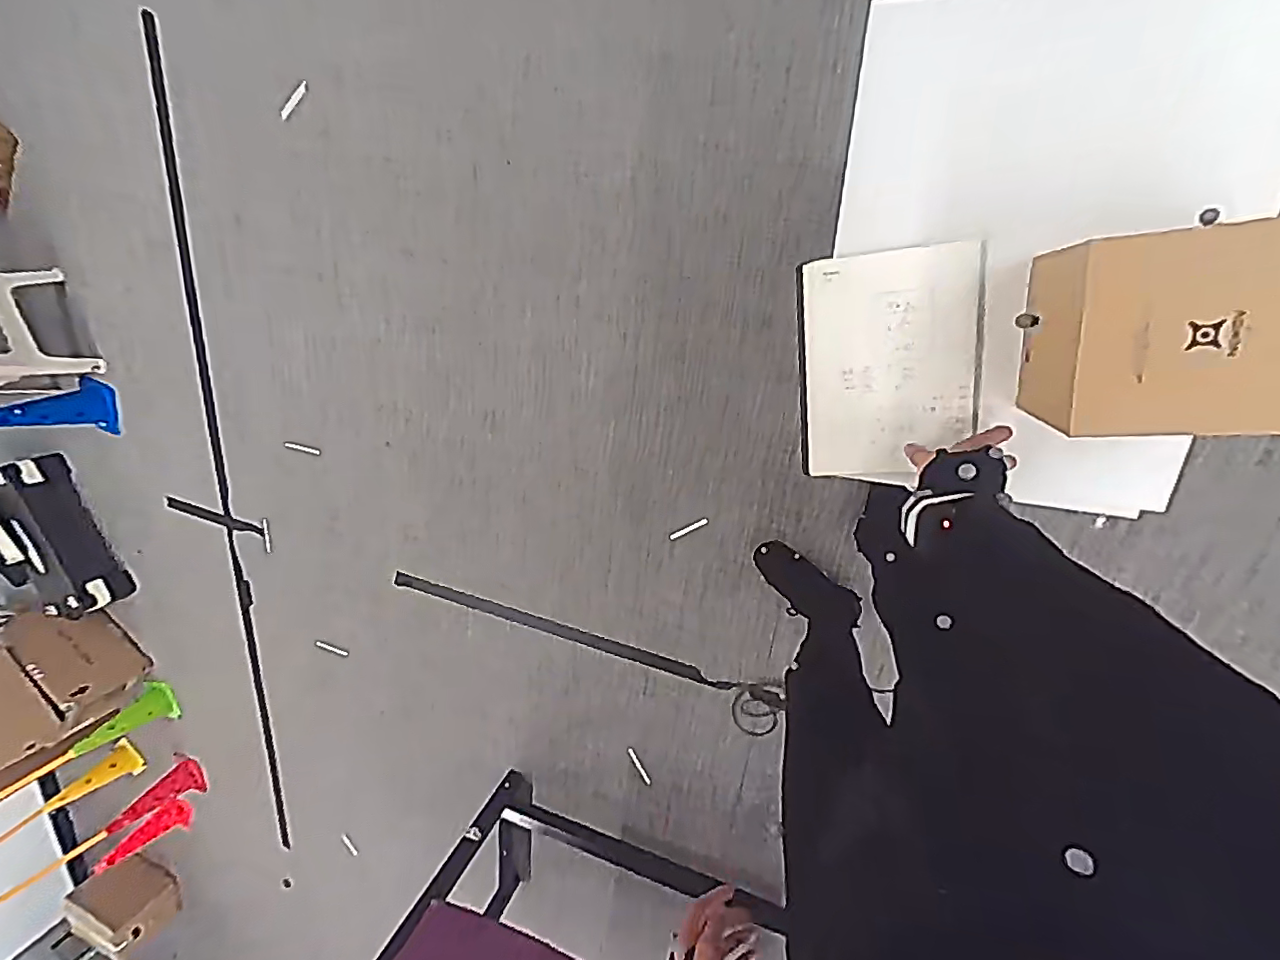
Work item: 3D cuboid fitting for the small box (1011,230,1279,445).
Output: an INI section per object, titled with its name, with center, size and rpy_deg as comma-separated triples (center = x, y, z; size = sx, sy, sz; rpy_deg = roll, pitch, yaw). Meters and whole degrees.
[small box]
center = 0.477, -0.130, 0.503
size = 0.179, 0.176, 0.168
rpy_deg = 0, 106, 21
